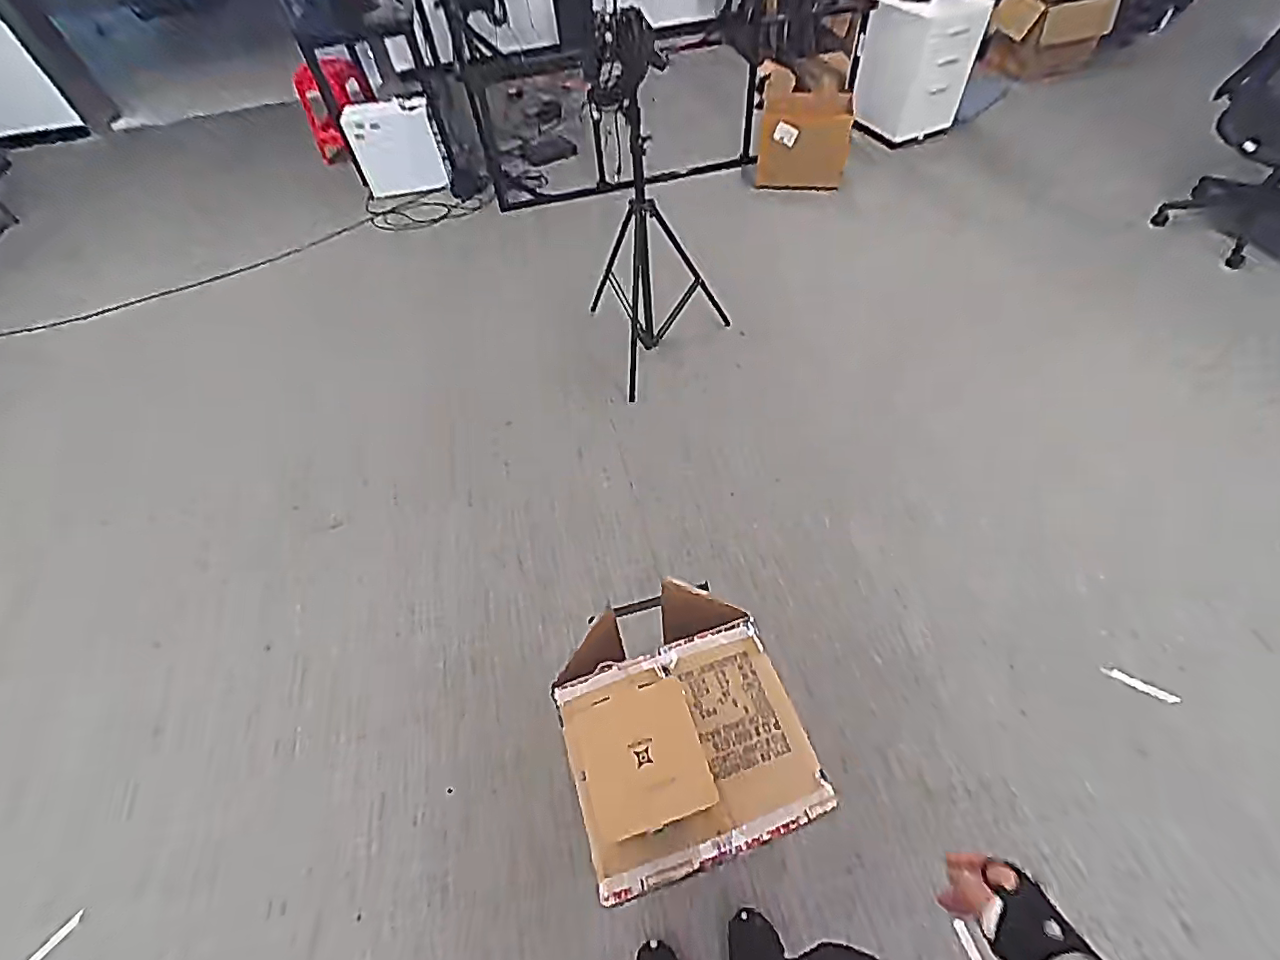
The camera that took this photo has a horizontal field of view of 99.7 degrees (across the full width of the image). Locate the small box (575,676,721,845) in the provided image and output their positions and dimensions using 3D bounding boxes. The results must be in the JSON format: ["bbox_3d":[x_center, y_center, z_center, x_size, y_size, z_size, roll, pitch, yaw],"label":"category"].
[{"bbox_3d":[0.009,0.426,0.818,0.168,0.176,0.179,-18,58,-6],"label":"small box"}]
